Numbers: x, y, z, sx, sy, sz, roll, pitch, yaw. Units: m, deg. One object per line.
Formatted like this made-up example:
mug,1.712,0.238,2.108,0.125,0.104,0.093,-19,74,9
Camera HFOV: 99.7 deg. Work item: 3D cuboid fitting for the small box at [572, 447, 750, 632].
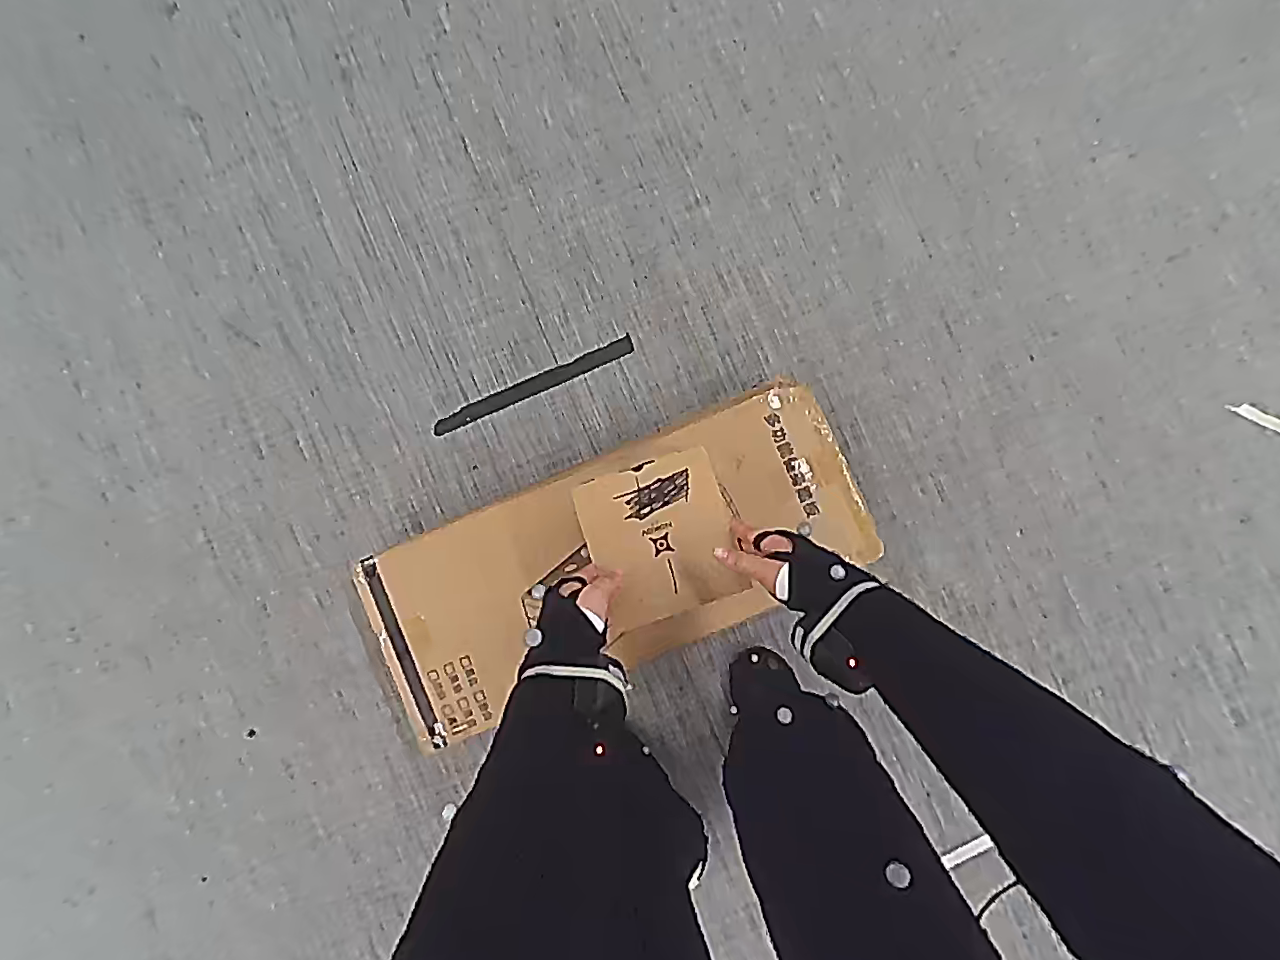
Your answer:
small box,0.021,0.078,0.693,0.168,0.176,0.179,-18,82,-2
